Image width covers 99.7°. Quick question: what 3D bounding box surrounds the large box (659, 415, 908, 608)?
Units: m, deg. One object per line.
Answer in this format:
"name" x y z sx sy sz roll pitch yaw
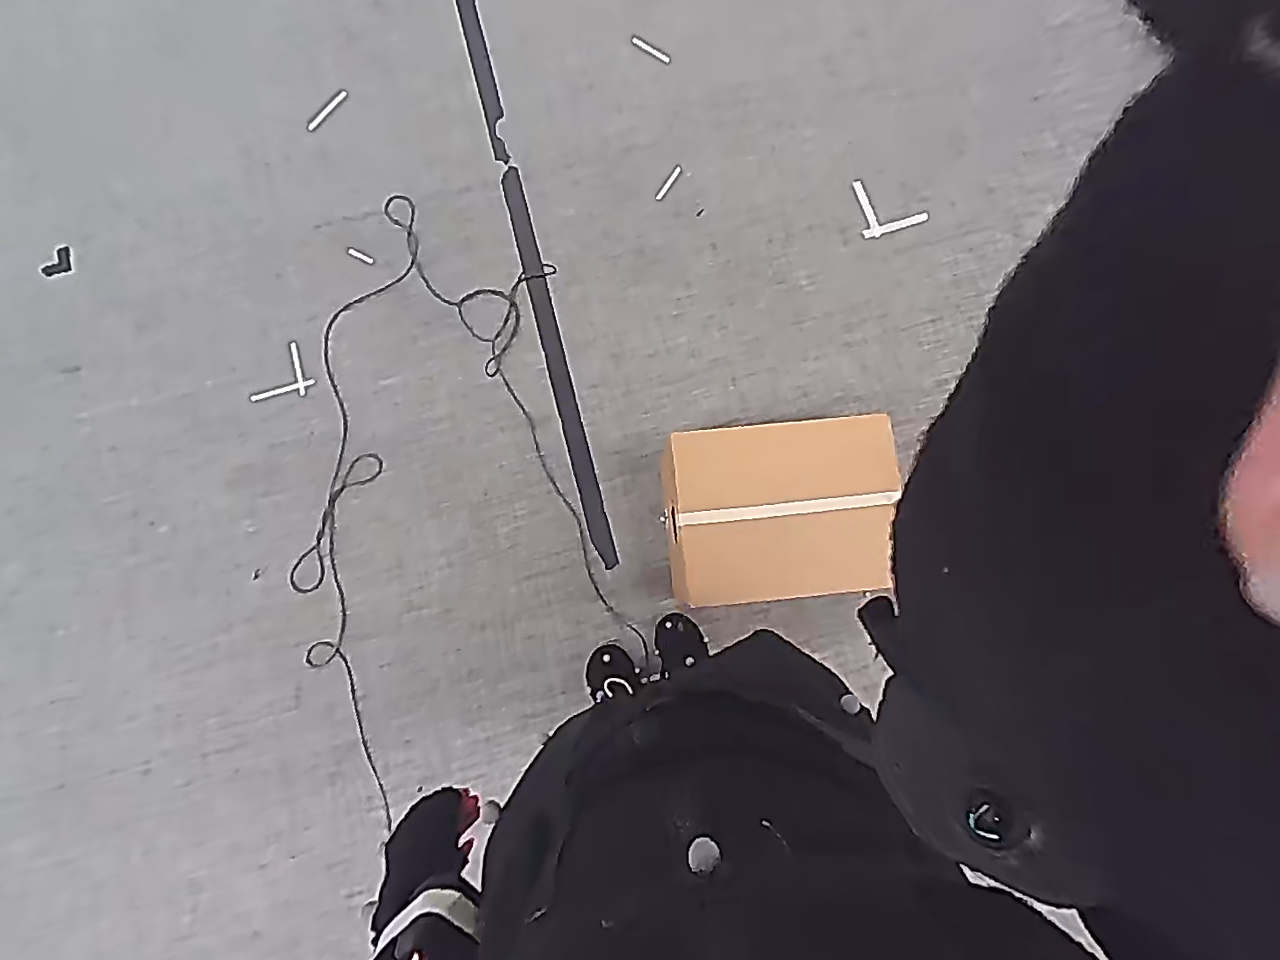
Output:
"large box" 0.259 0.073 1.111 0.408 0.320 0.320 -5 80 -2
